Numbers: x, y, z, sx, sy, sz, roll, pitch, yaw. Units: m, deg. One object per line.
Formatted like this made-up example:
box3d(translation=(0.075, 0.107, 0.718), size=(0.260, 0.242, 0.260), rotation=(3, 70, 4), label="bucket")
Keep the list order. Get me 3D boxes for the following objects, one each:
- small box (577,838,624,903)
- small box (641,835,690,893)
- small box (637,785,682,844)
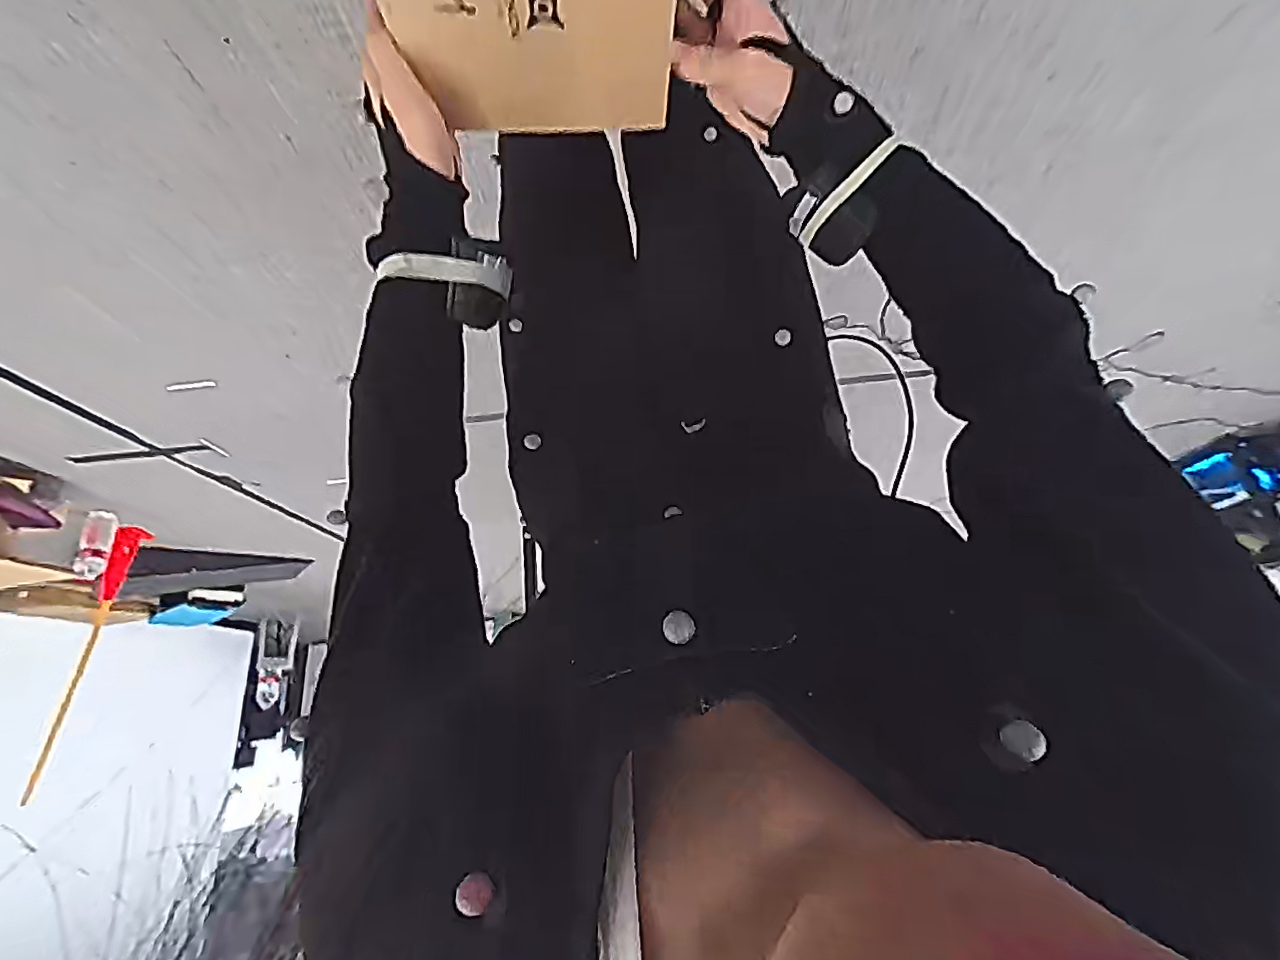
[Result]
box3d(translation=(-0.161, 1.581, 2.201), size=(0.179, 0.176, 0.168), rotation=(-7, 162, -2), label="small box")
box3d(translation=(0.099, 1.557, 2.218), size=(0.179, 0.176, 0.168), rotation=(-7, 161, -4), label="small box")
box3d(translation=(0.079, 1.407, 2.283), size=(0.168, 0.176, 0.179), rotation=(-5, 160, -3), label="small box")
